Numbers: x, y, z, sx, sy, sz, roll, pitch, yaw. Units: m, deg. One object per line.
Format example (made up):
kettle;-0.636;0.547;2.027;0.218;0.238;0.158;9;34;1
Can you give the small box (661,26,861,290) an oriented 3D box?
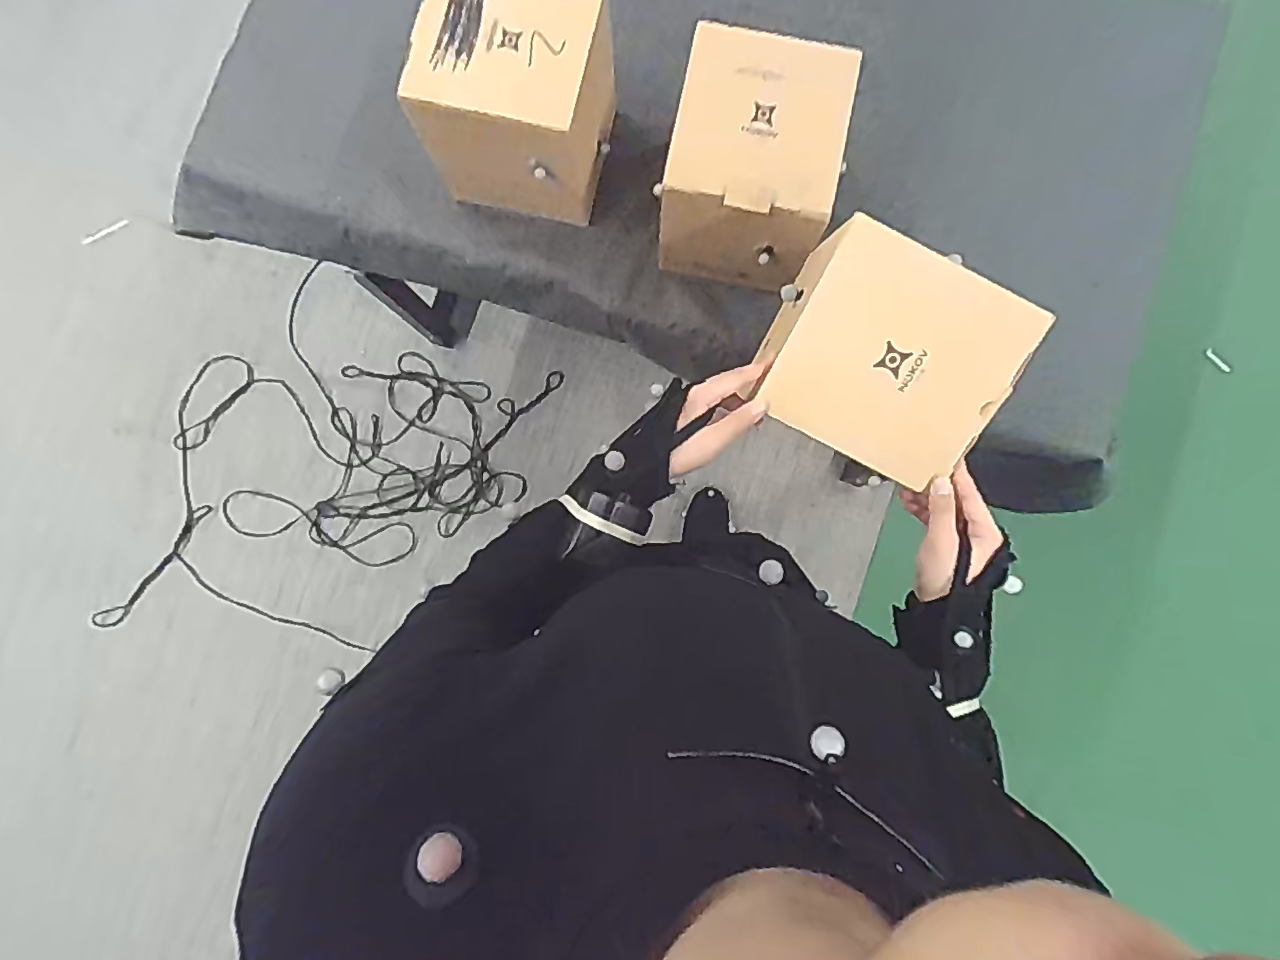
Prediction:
small box;0.118;-0.336;0.598;0.168;0.176;0.179;11;84;1
